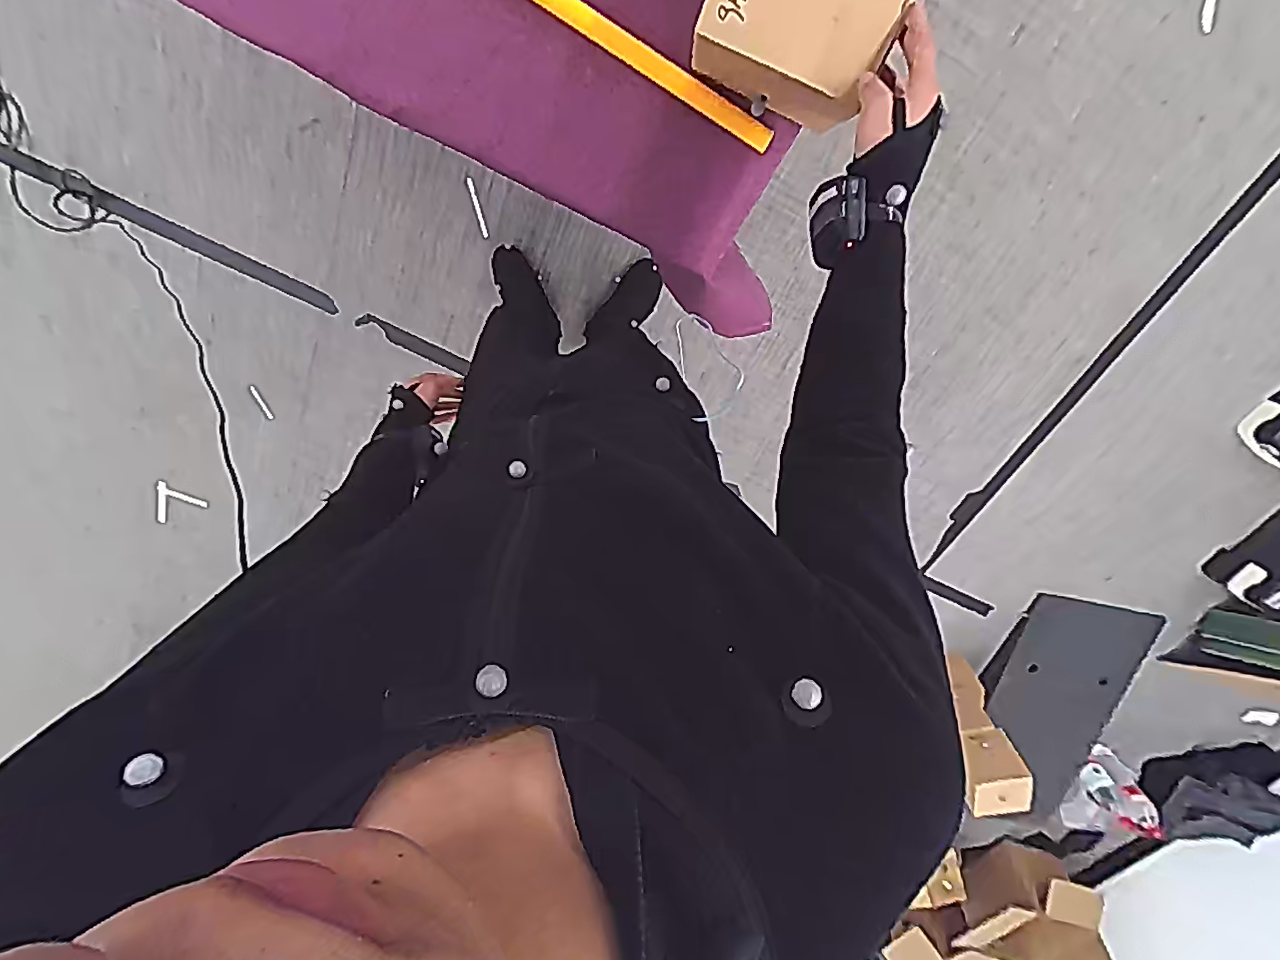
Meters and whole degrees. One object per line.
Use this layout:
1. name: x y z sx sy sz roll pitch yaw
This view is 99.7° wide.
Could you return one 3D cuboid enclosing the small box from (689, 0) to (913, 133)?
1. small box: 0.161 -0.481 0.553 0.179 0.176 0.168 21 117 -7
